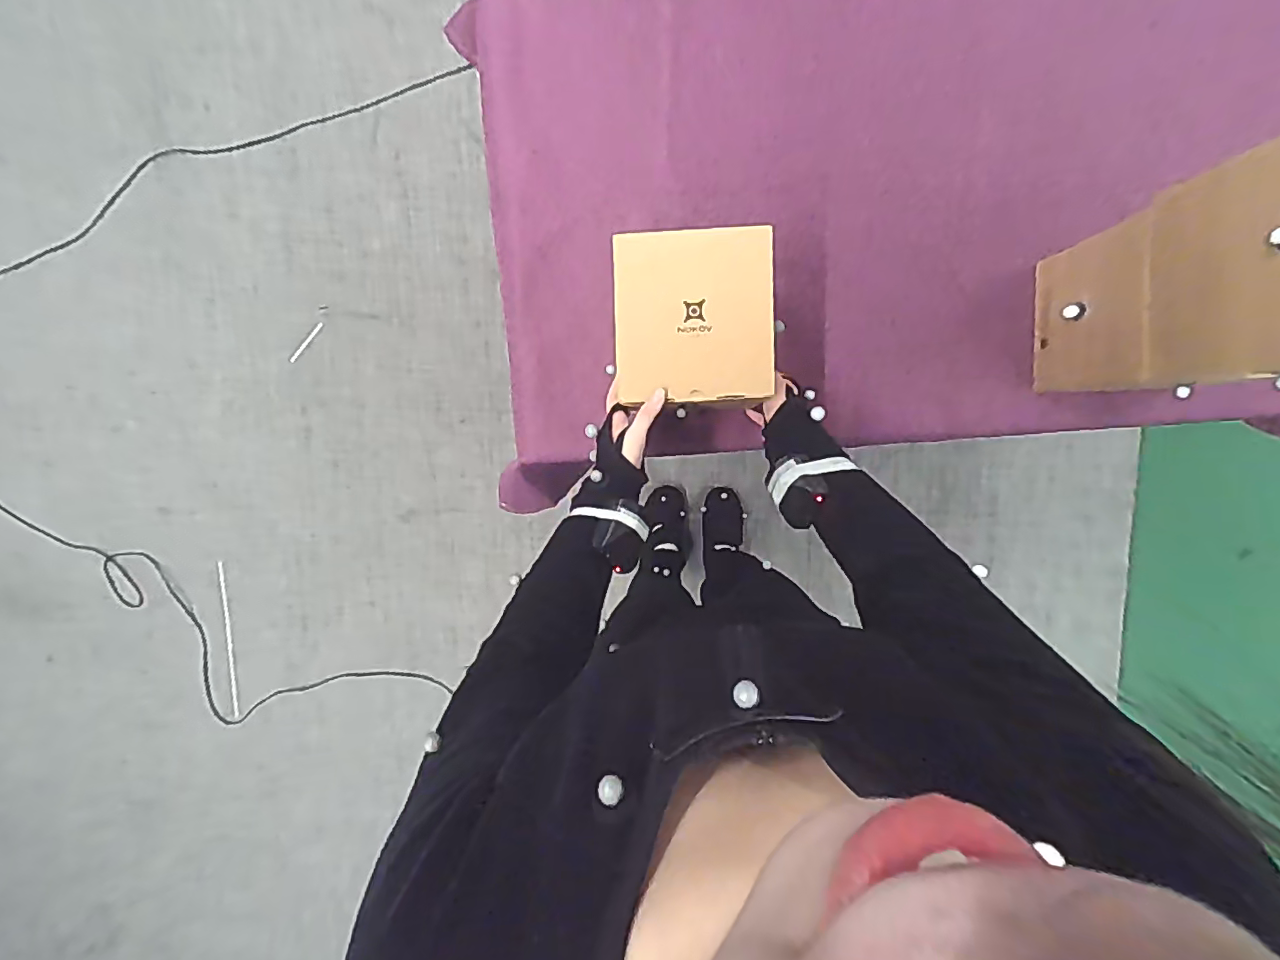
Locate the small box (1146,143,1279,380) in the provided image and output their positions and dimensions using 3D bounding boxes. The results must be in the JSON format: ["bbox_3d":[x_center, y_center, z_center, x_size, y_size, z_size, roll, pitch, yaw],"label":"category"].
[{"bbox_3d":[0.563,-0.182,0.437,0.168,0.176,0.179,-4,95,5],"label":"small box"}]

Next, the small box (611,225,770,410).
[{"bbox_3d":[0.055,-0.177,0.638,0.168,0.176,0.179,-2,94,4],"label":"small box"}]

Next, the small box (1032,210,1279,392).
[{"bbox_3d":[0.576,-0.188,0.601,0.179,0.176,0.168,-1,95,4],"label":"small box"}]
